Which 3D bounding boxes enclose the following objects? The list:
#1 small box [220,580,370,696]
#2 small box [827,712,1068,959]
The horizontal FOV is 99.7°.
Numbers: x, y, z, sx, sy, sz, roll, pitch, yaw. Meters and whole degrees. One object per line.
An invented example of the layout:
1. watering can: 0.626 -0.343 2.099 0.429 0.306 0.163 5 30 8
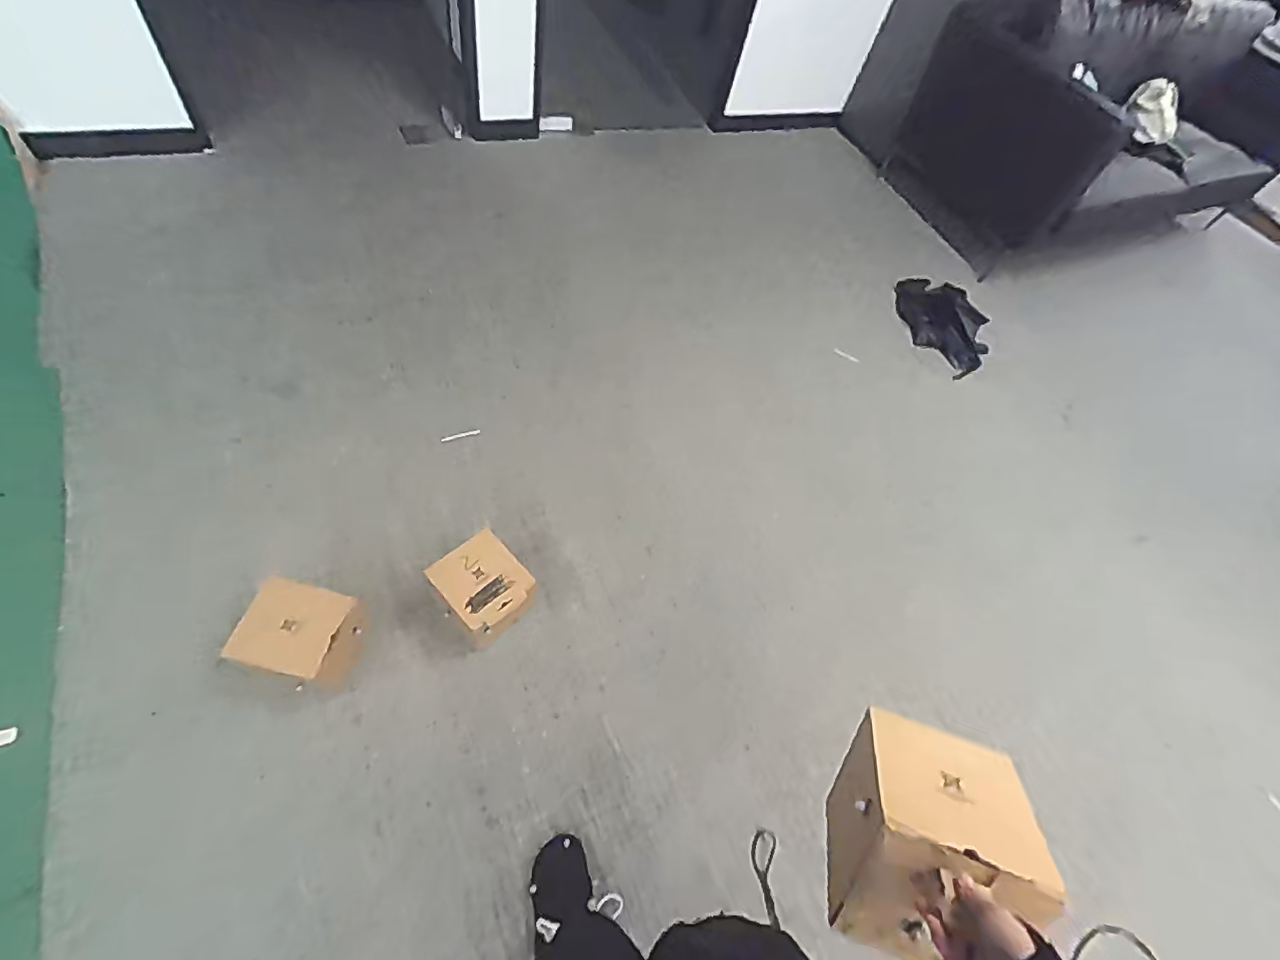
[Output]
1. small box: -0.679 0.326 1.095 0.179 0.176 0.168 15 56 -3
2. small box: 0.316 0.408 0.603 0.168 0.176 0.179 17 19 13
